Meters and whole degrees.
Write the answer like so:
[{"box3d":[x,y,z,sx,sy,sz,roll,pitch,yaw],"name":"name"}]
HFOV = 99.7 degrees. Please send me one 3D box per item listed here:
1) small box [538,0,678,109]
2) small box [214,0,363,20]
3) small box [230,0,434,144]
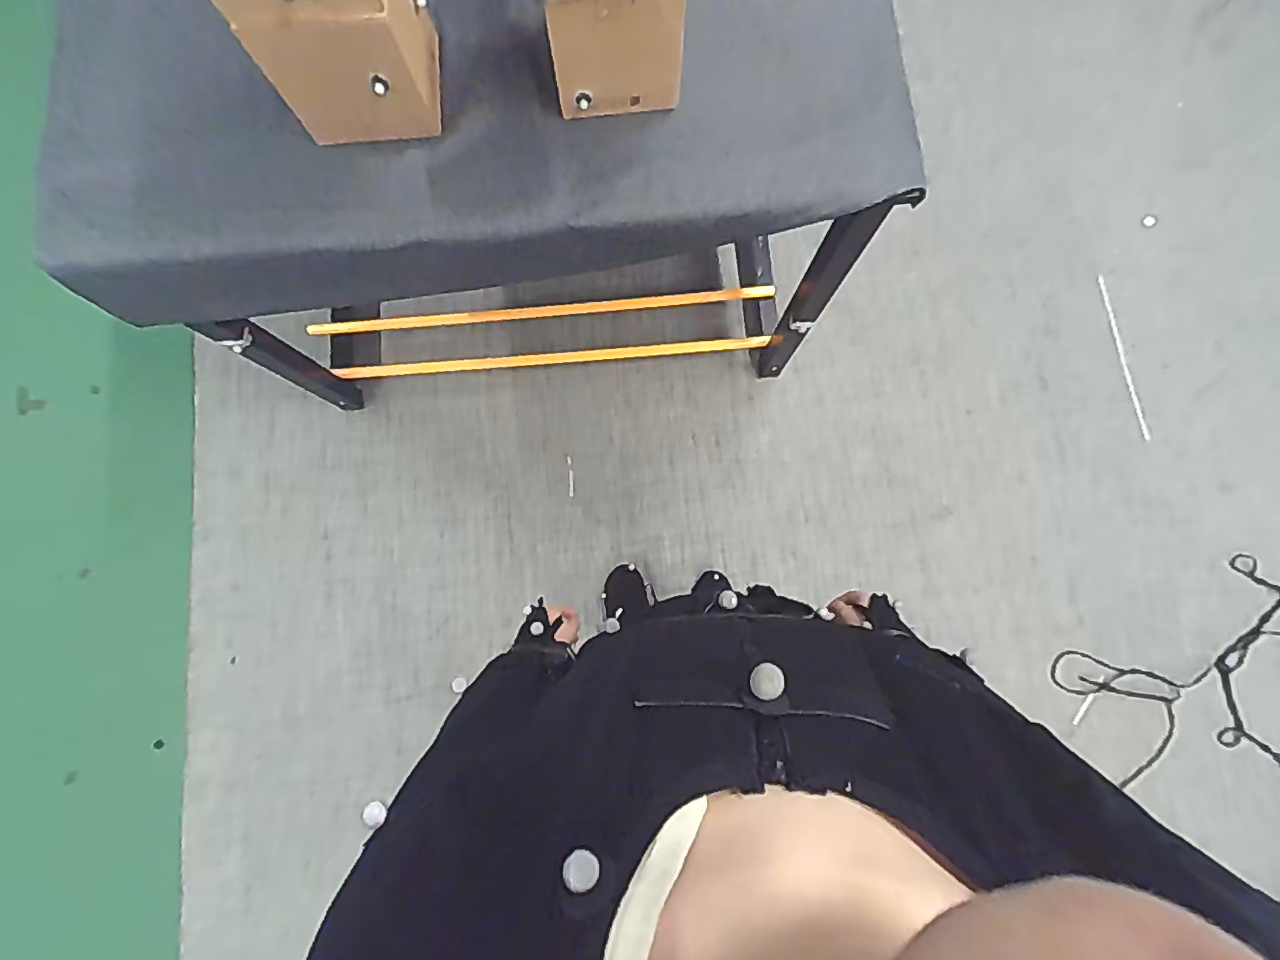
[{"box3d":[-0.042,-0.617,0.700,0.168,0.176,0.179,-7,79,-1],"name":"small box"},{"box3d":[-0.378,-0.605,0.533,0.179,0.176,0.168,-6,79,-1],"name":"small box"},{"box3d":[-0.375,-0.568,0.693,0.179,0.176,0.168,-6,79,0],"name":"small box"}]
